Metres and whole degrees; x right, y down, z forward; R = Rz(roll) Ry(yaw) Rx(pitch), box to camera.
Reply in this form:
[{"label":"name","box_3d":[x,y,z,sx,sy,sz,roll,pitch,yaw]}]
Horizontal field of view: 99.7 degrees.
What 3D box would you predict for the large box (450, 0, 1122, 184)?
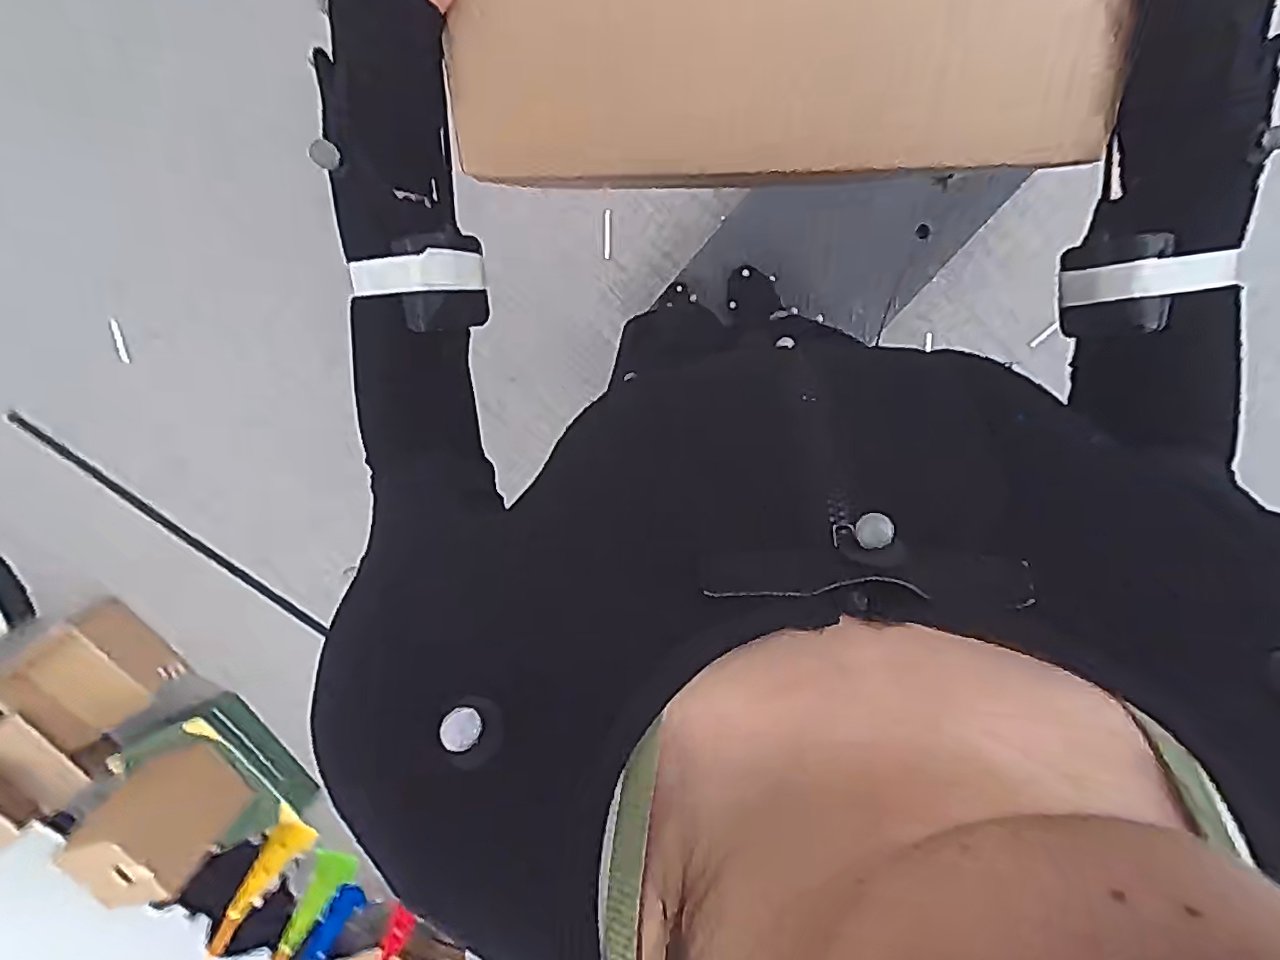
[{"label":"large box","box_3d":[0.086,-0.409,0.417,0.408,0.320,0.320,-1,117,0]}]
